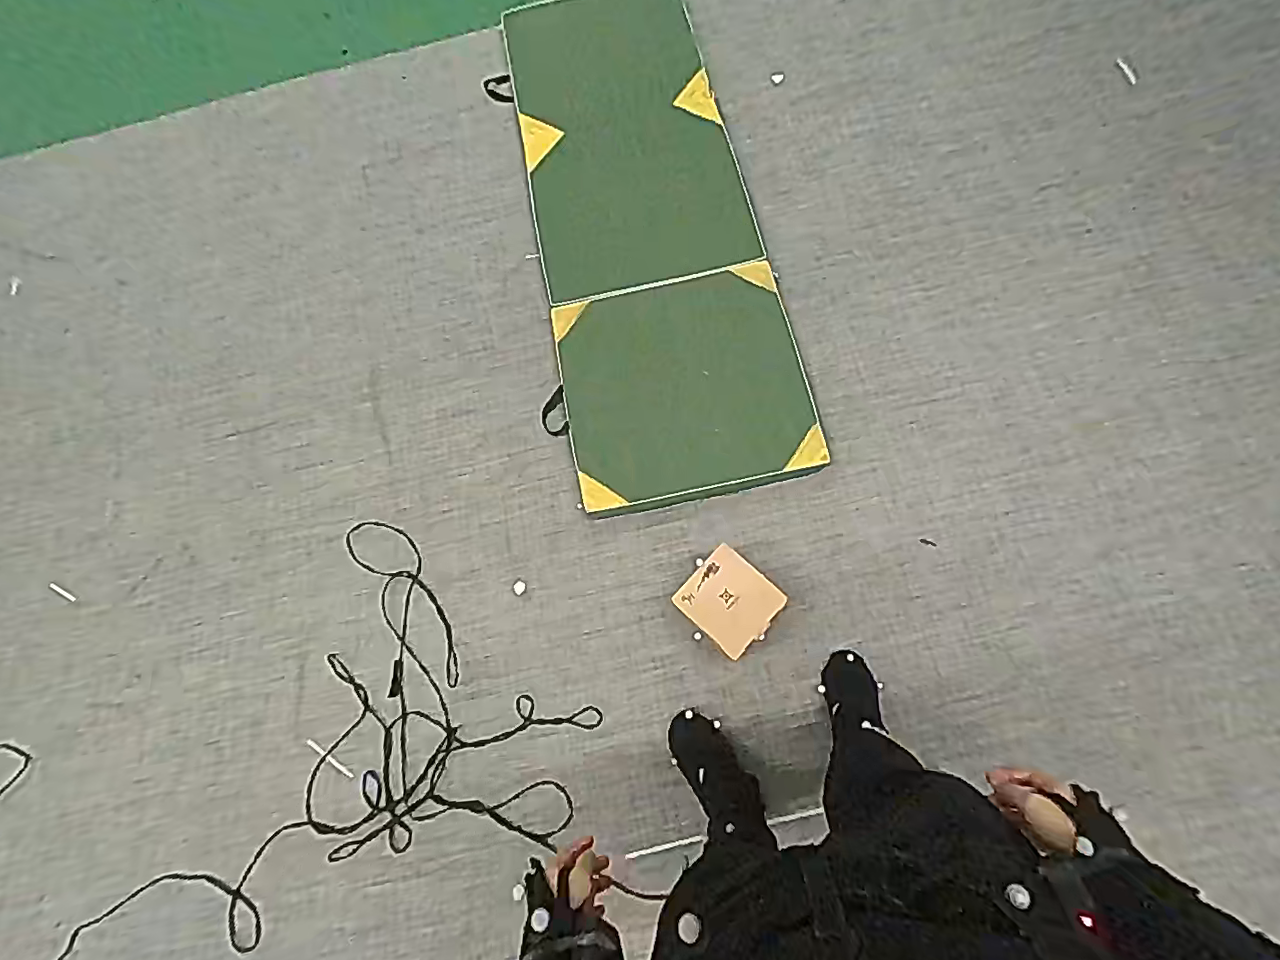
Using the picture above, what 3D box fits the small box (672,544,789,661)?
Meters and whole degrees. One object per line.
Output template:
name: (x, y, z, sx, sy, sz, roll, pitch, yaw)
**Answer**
small box: (0.189, 0.264, 1.159, 0.179, 0.176, 0.168, 42, 80, 16)
